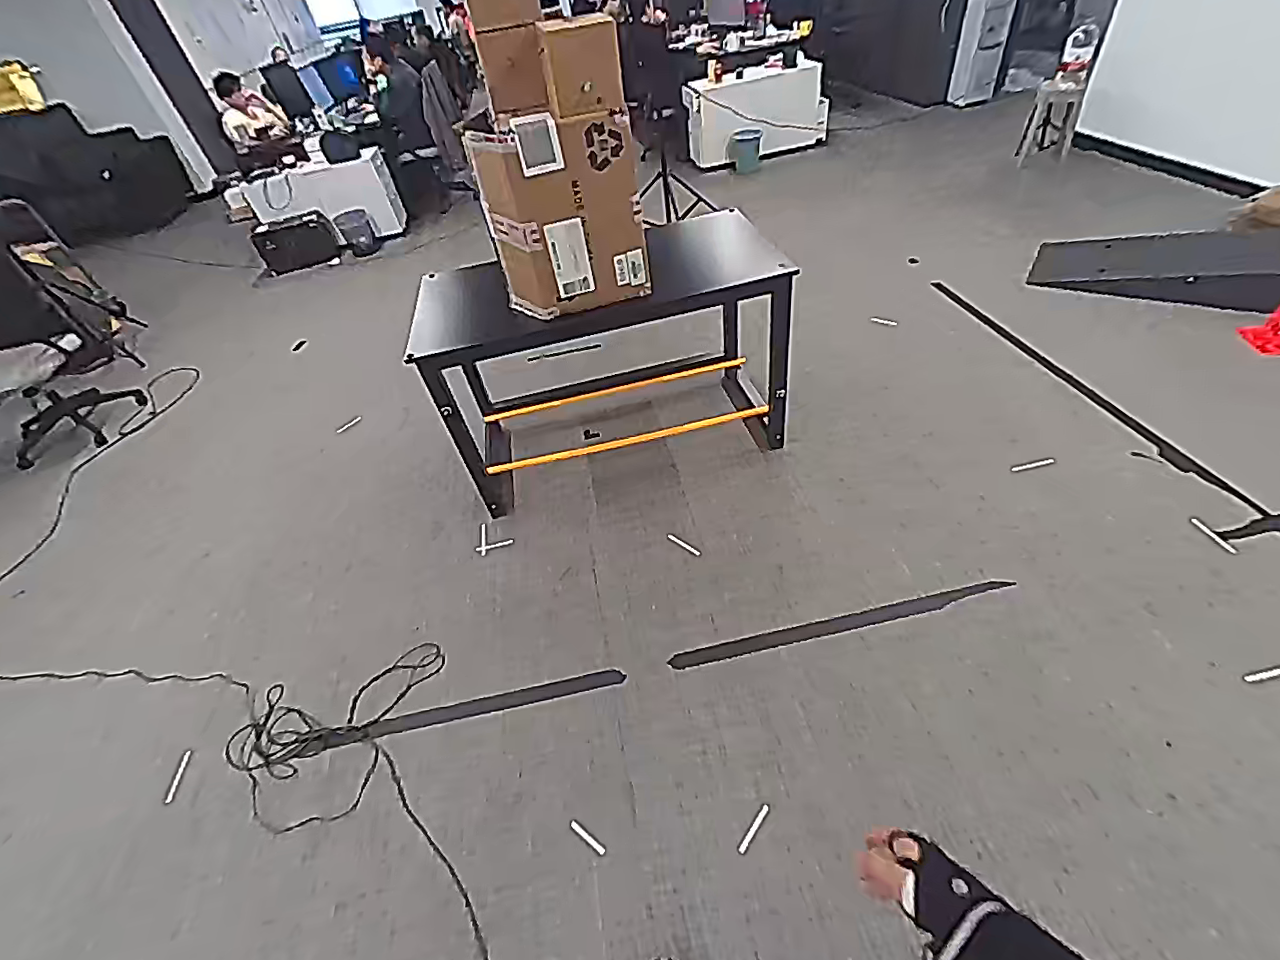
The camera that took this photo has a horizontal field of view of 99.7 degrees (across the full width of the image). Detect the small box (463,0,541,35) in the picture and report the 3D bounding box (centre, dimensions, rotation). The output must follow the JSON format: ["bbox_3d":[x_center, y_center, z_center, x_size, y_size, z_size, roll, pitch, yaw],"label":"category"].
[{"bbox_3d":[-0.352,-1.217,1.332,0.179,0.176,0.168,-17,42,-7],"label":"small box"}]

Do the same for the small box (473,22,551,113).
[{"bbox_3d":[-0.333,-1.100,1.445,0.179,0.176,0.168,-15,43,-6],"label":"small box"}]

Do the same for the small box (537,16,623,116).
[{"bbox_3d":[-0.146,-1.011,1.321,0.168,0.176,0.179,-15,46,-6],"label":"small box"}]
